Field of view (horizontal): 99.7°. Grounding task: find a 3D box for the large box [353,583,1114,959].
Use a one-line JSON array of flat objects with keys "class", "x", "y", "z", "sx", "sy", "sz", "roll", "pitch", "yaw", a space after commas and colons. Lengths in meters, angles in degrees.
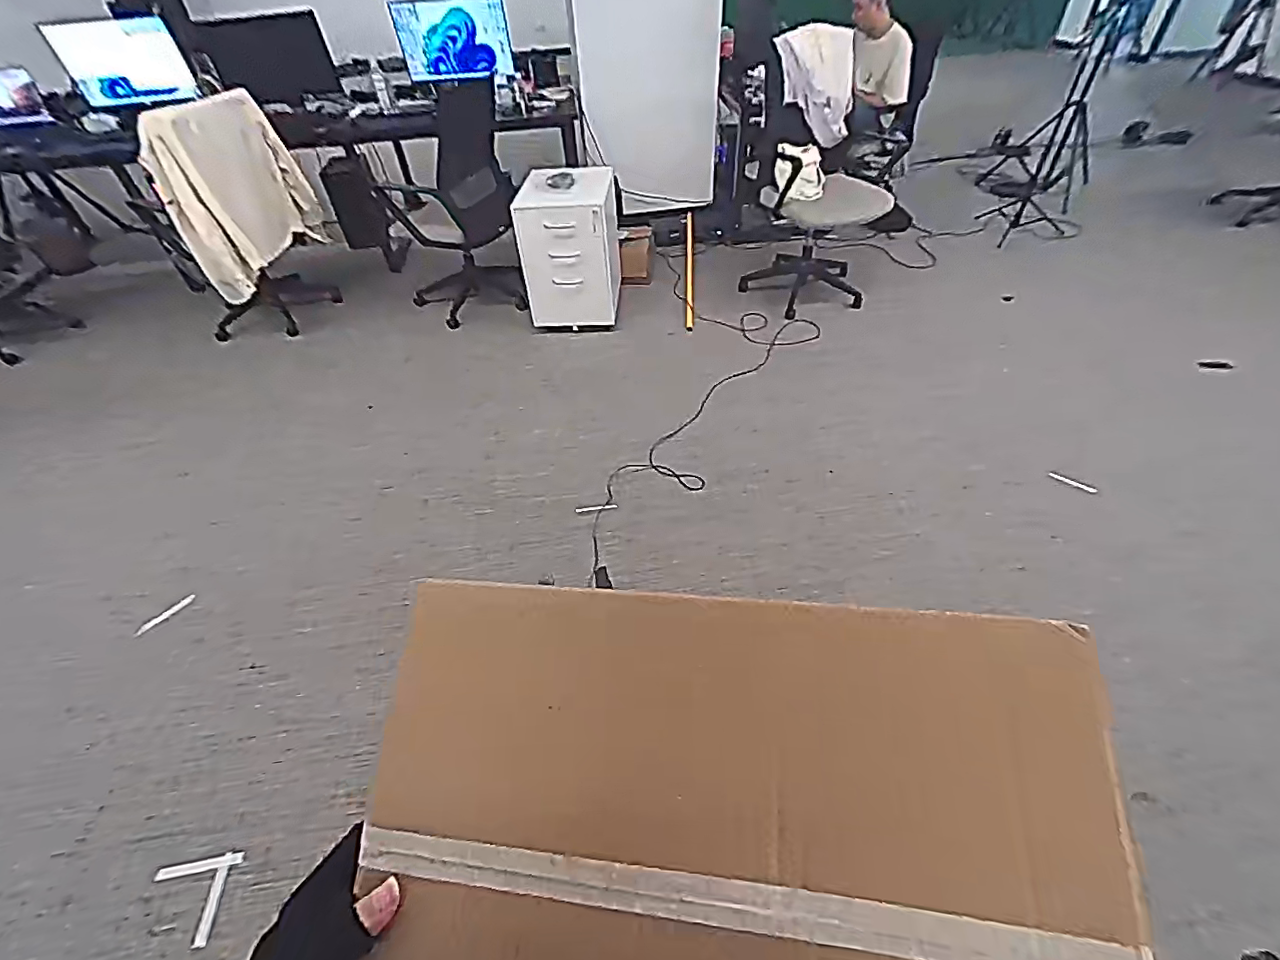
[{"class": "large box", "x": 0.058, "y": 0.271, "z": 0.436, "sx": 0.408, "sy": 0.320, "sz": 0.320, "roll": 2, "pitch": 72, "yaw": 11}]
